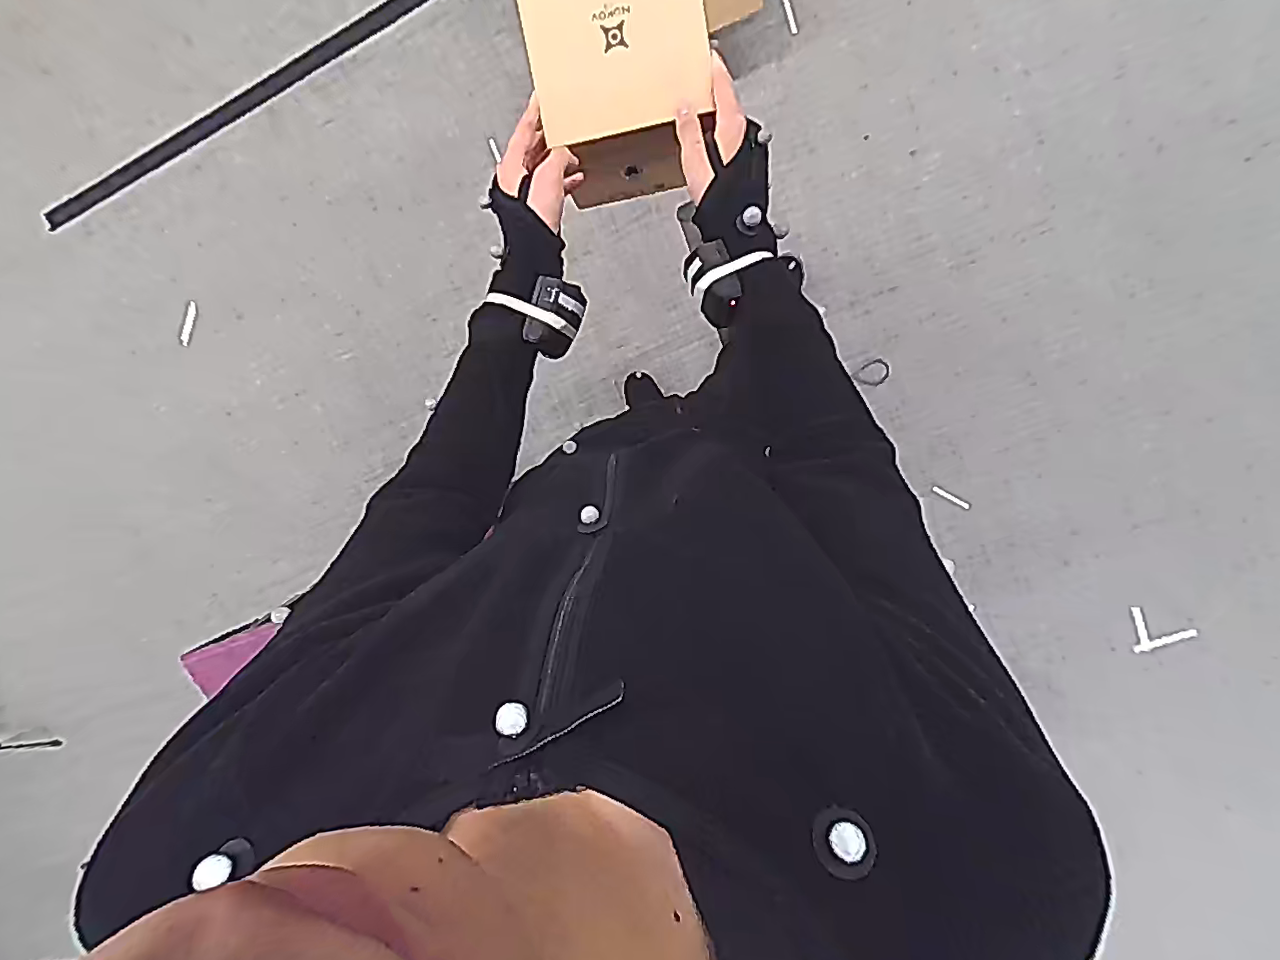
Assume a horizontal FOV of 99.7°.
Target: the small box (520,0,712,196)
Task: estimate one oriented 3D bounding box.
[{"bbox_3d":[-0.019,-0.428,0.578,0.168,0.176,0.179,-10,97,5],"label":"small box"}]
